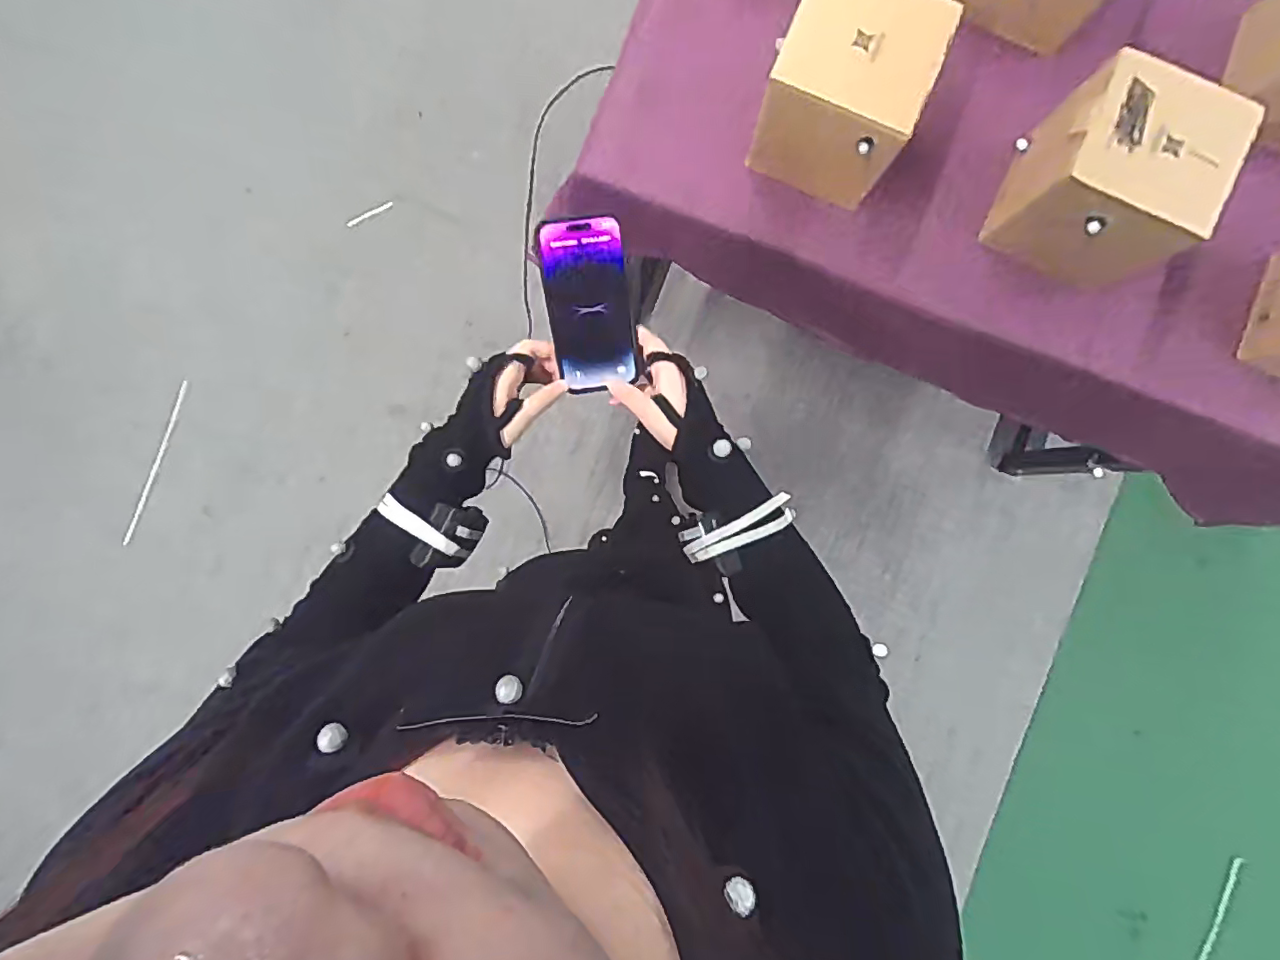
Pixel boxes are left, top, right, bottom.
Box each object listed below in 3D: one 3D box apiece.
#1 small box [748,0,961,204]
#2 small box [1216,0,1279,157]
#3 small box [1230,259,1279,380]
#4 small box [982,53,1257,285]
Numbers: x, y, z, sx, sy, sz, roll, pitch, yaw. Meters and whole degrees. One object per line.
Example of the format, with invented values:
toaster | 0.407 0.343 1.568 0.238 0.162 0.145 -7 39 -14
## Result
small box | 0.258 -0.495 0.698 0.179 0.176 0.168 23 89 -1
small box | 0.909 -0.558 0.694 0.168 0.176 0.179 19 90 1
small box | 0.945 -0.214 0.690 0.179 0.176 0.168 21 89 0
small box | 0.591 -0.378 0.694 0.179 0.176 0.168 25 90 0
